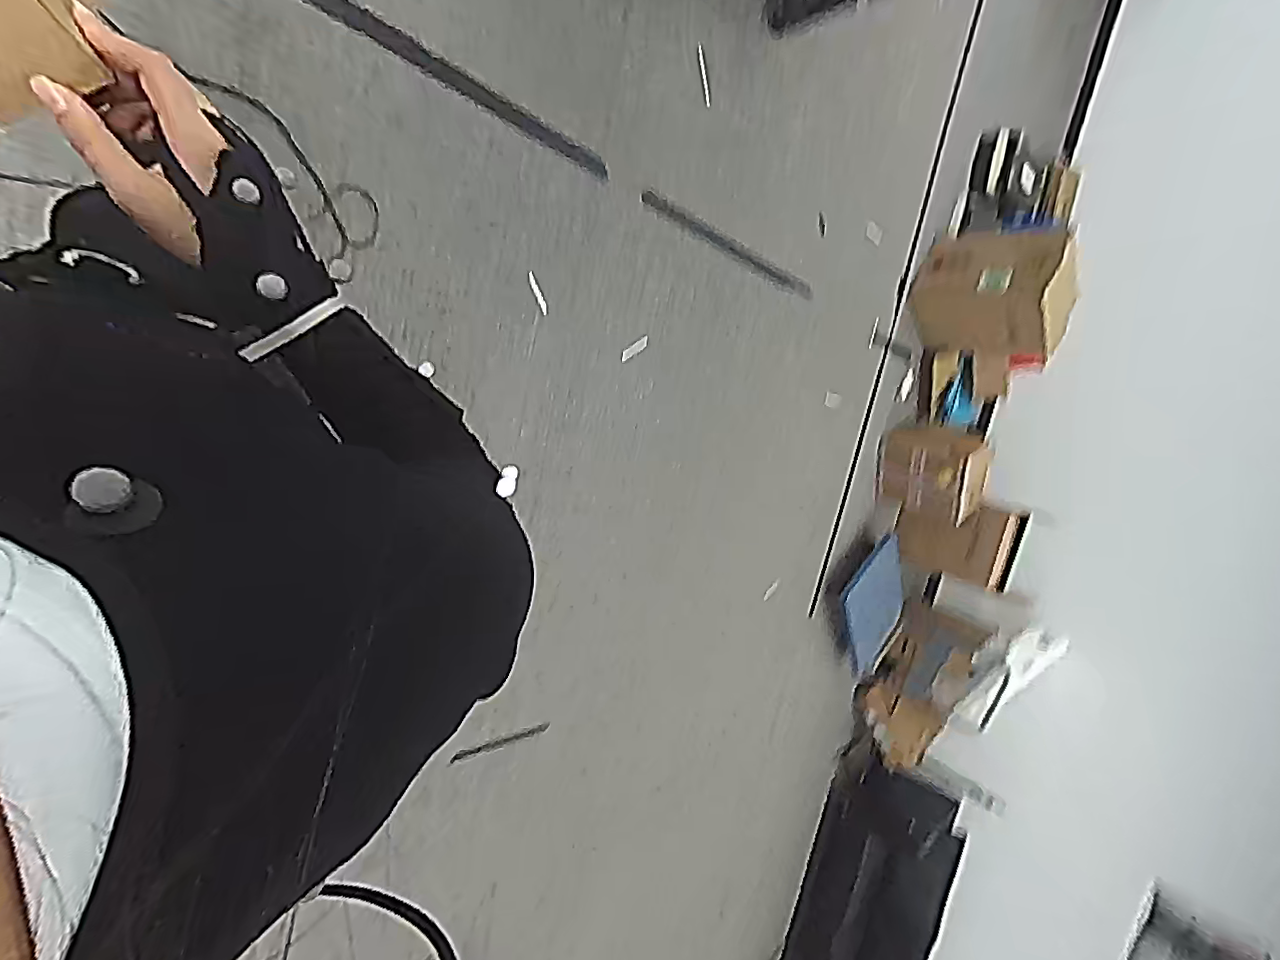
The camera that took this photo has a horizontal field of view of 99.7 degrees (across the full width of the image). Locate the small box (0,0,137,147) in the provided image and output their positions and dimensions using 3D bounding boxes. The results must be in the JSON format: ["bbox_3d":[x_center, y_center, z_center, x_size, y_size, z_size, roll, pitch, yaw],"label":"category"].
[{"bbox_3d":[-0.370,-0.256,0.216,0.168,0.176,0.179,-28,157,-10],"label":"small box"}]
